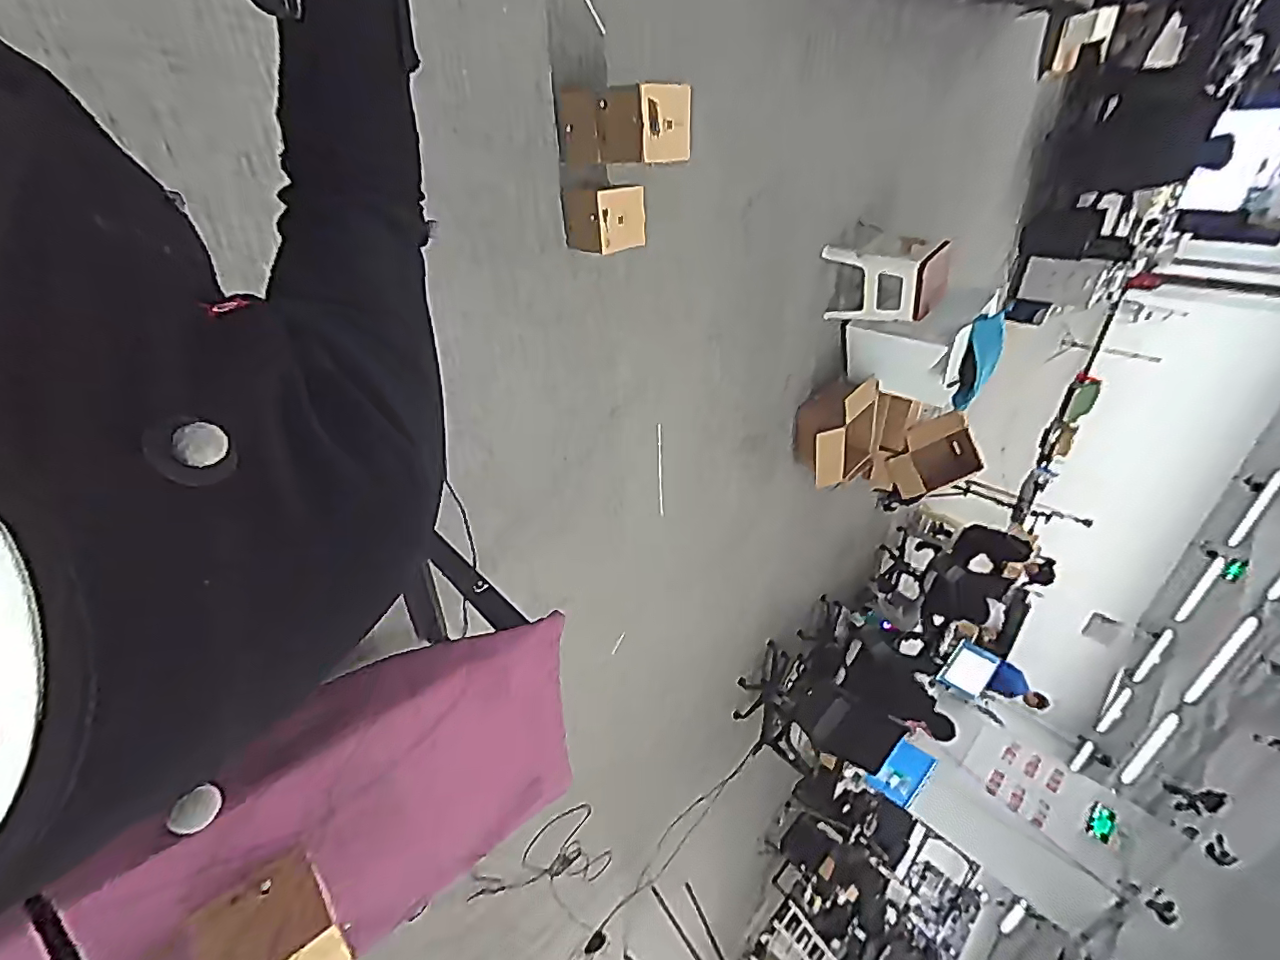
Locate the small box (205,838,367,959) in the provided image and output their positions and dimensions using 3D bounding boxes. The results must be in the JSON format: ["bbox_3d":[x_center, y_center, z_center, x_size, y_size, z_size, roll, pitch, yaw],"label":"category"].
[{"bbox_3d":[-0.573,0.740,0.882,0.168,0.176,0.179,-23,127,-38],"label":"small box"}]

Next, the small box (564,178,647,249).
[{"bbox_3d":[-0.101,-0.802,1.616,0.179,0.176,0.168,-30,131,-33],"label":"small box"}]
